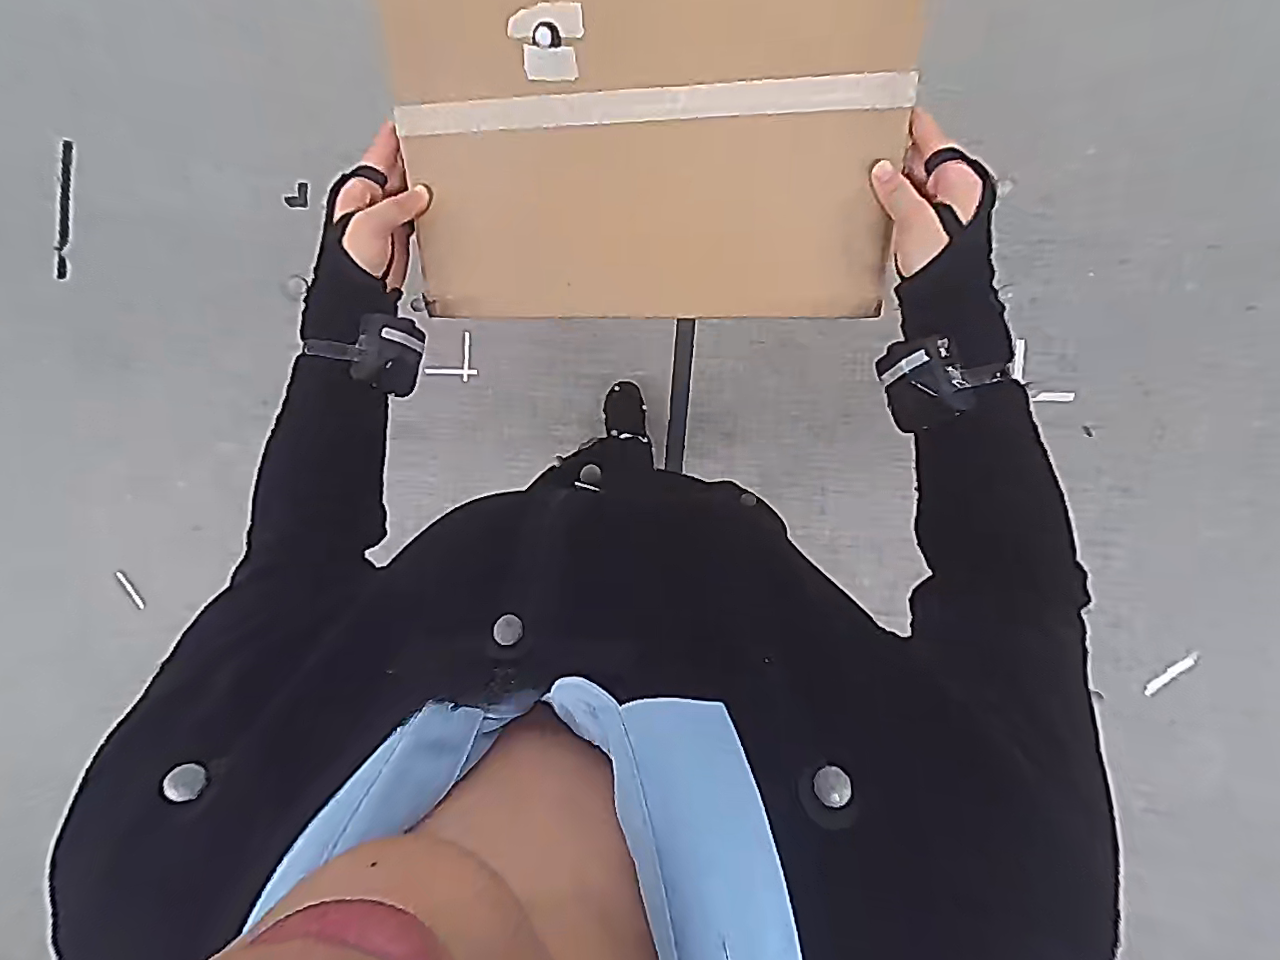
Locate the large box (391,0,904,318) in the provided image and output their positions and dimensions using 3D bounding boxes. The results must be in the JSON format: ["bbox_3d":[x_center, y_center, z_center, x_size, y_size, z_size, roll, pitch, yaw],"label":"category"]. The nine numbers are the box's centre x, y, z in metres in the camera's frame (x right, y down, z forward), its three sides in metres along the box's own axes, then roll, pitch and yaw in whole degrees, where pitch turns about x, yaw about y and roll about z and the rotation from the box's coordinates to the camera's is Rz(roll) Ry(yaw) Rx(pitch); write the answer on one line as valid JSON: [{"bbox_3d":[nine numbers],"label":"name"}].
[{"bbox_3d":[0.021,-0.353,0.575,0.408,0.320,0.320,2,112,9],"label":"large box"}]
